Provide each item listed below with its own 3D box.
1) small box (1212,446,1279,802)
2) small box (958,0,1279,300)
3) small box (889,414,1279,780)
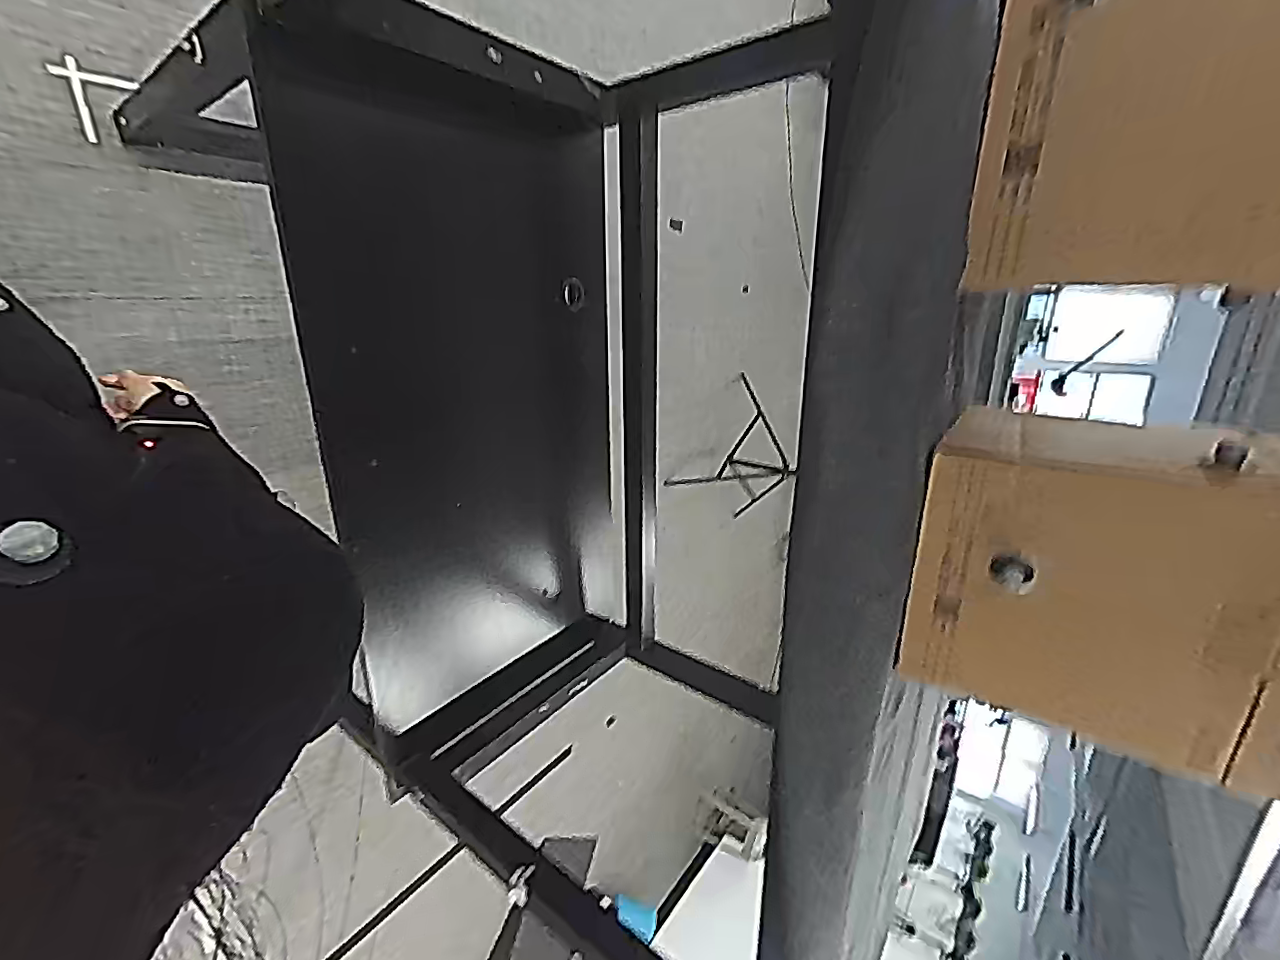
[{"bbox_3d":[0.428,0.084,0.292,0.179,0.176,0.168,-22,118,-50],"label":"small box"},{"bbox_3d":[0.287,-0.187,0.294,0.179,0.176,0.168,-27,123,-49],"label":"small box"},{"bbox_3d":[0.293,0.053,0.381,0.179,0.176,0.168,-24,119,-50],"label":"small box"}]
